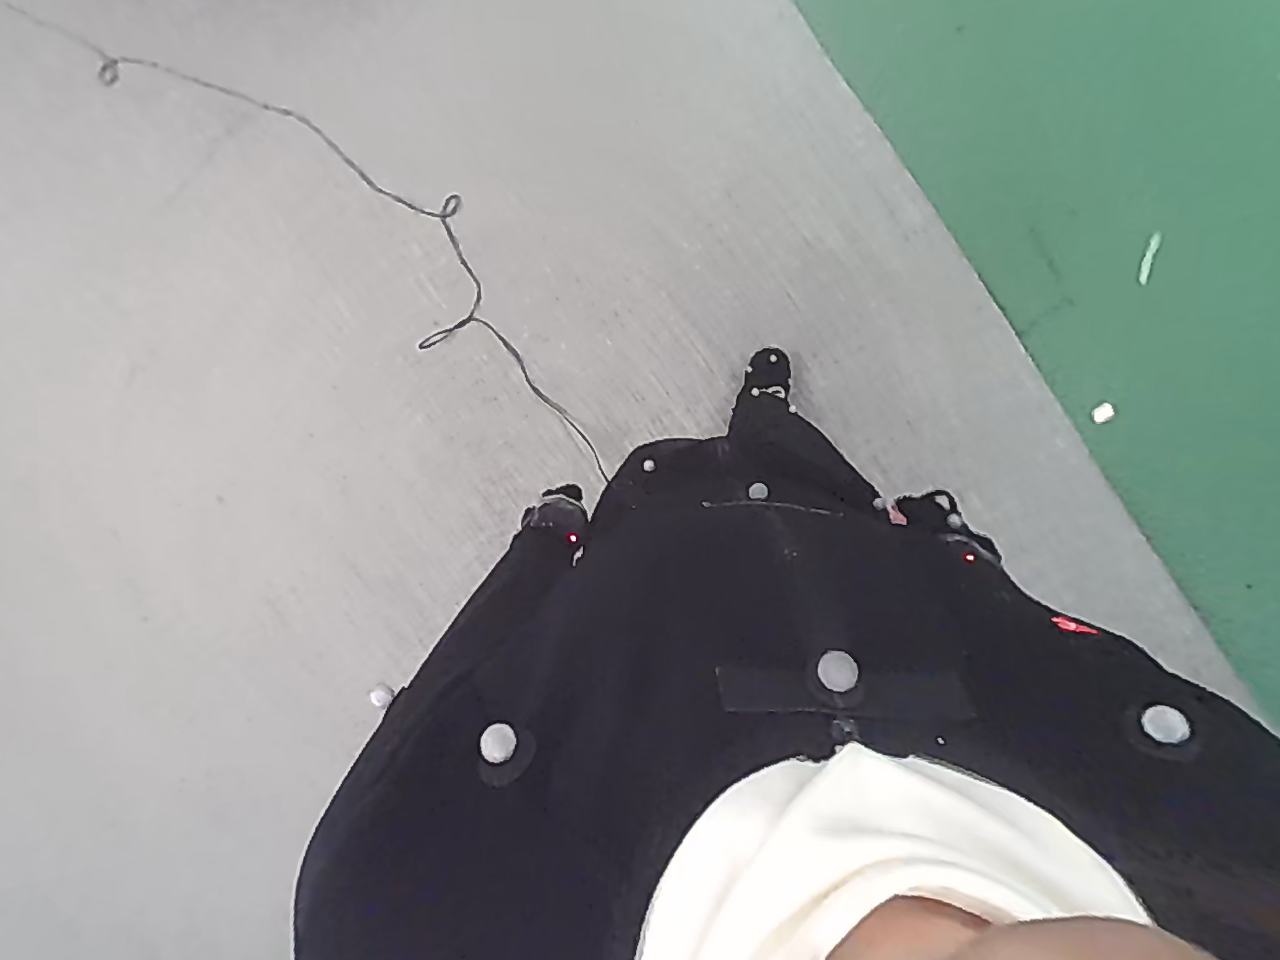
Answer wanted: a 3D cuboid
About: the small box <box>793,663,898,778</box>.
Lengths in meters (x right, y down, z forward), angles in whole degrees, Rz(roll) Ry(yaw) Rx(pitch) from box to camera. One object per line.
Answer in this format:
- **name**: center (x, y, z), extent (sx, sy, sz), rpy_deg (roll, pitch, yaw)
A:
- **small box**: center (0.507, 0.601, 1.371), extent (0.179, 0.176, 0.168), rpy_deg (-34, 92, 7)
